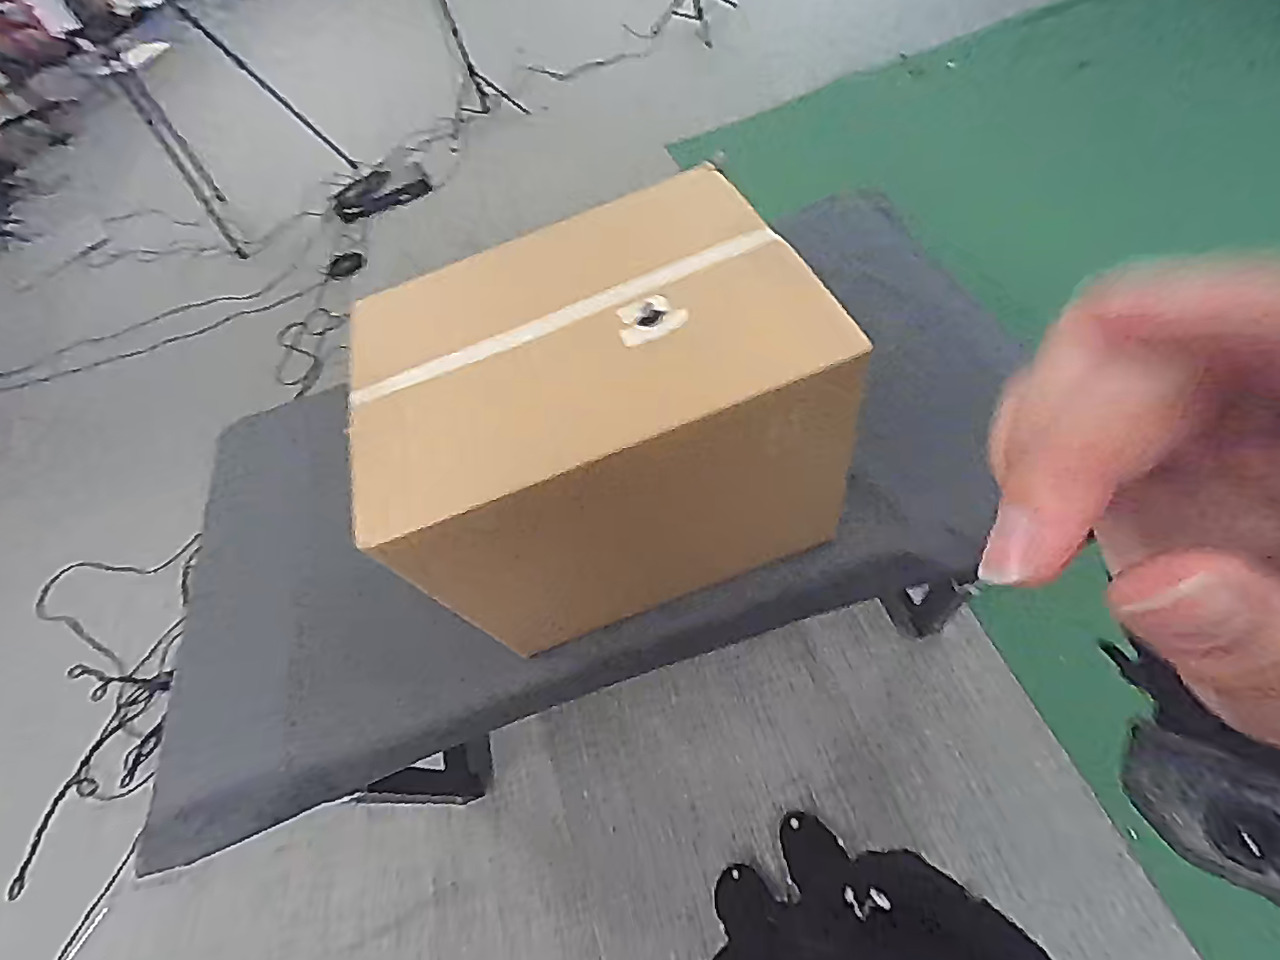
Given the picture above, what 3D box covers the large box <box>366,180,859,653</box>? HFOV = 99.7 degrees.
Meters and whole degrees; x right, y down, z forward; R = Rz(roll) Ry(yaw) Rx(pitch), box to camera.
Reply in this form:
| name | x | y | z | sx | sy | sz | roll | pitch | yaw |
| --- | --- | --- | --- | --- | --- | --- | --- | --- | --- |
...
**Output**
| name | x | y | z | sx | sy | sz | roll | pitch | yaw |
| --- | --- | --- | --- | --- | --- | --- | --- | --- | --- |
| large box | -0.032 | -0.056 | 0.613 | 0.408 | 0.320 | 0.320 | -21 | 56 | -1 |
